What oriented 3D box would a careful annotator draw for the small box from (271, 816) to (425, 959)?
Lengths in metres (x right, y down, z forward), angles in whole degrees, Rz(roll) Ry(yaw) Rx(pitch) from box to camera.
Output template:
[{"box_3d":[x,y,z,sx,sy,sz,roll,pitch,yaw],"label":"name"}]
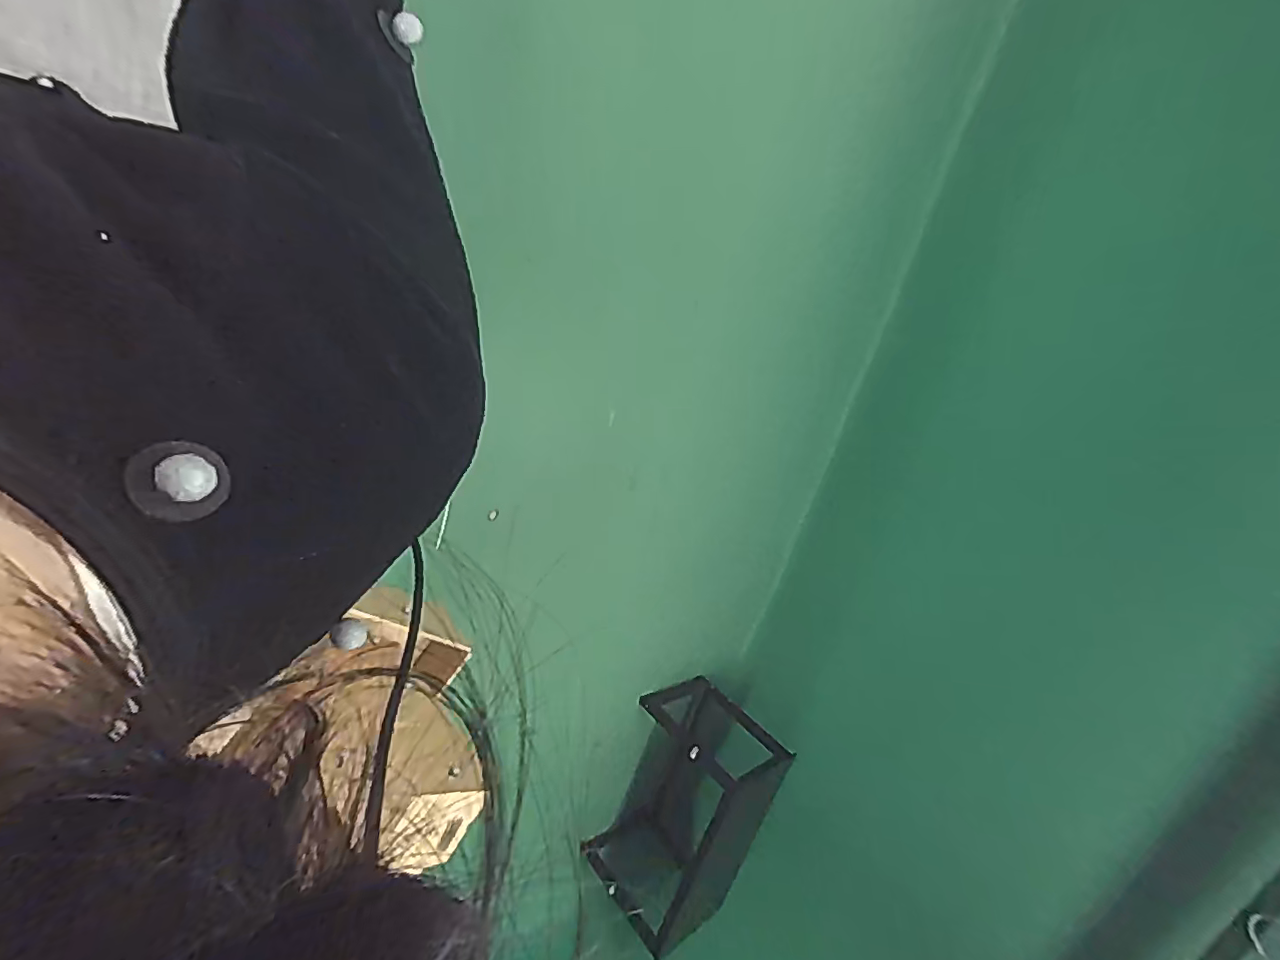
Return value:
[{"box_3d":[-0.530,0.742,0.974,0.168,0.176,0.179,25,92,-50],"label":"small box"}]
